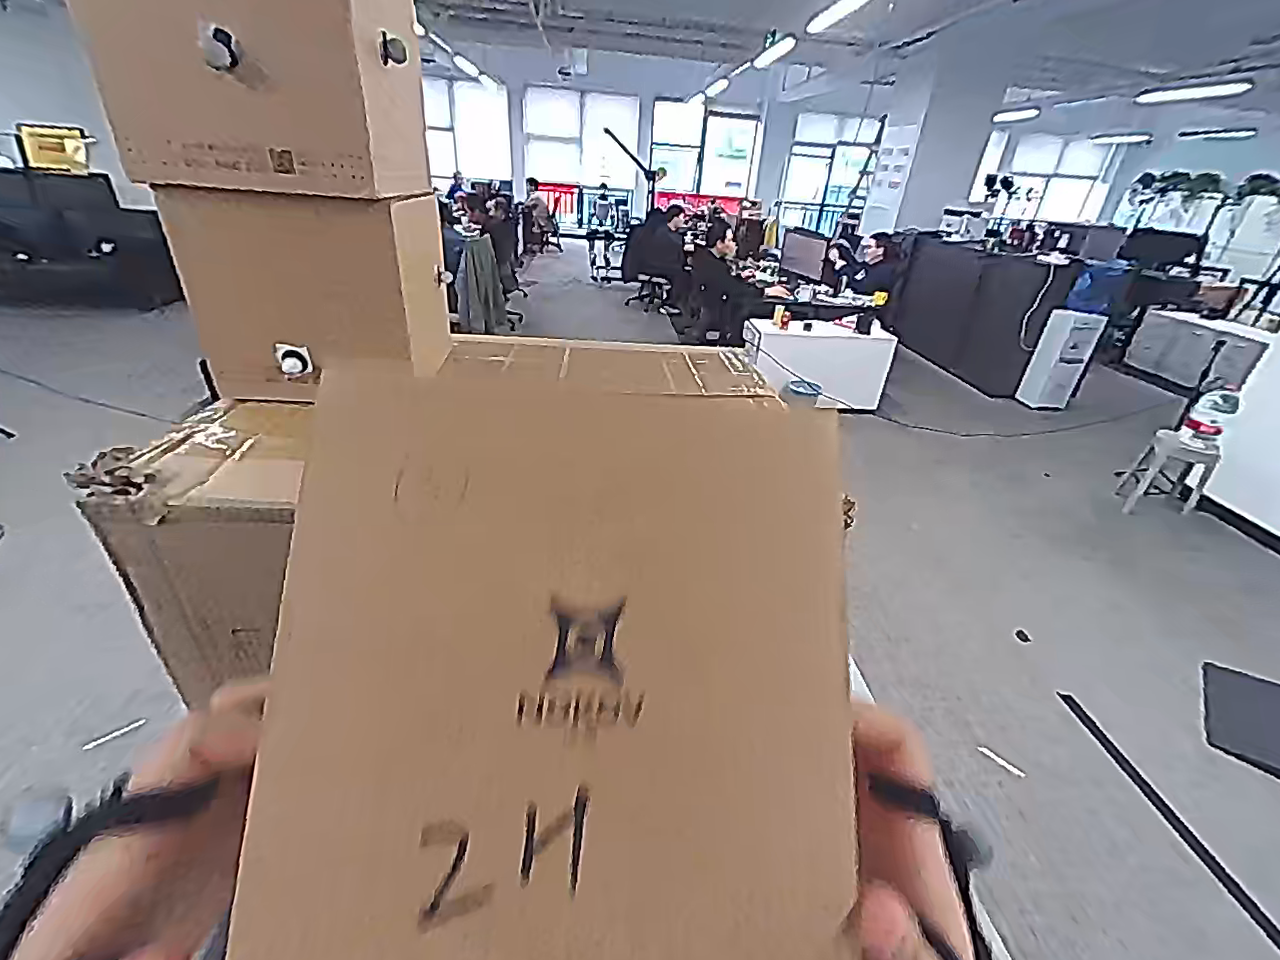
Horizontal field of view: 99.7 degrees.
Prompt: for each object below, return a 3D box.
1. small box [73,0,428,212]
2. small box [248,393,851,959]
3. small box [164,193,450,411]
[{"bbox_3d":[-0.273,-0.308,0.419,0.168,0.176,0.179,0,30,-7],"label":"small box"},{"bbox_3d":[-0.027,0.078,0.239,0.168,0.179,0.176,3,-11,-7],"label":"small box"},{"bbox_3d":[-0.282,-0.173,0.512,0.168,0.176,0.179,-1,30,-9],"label":"small box"}]
